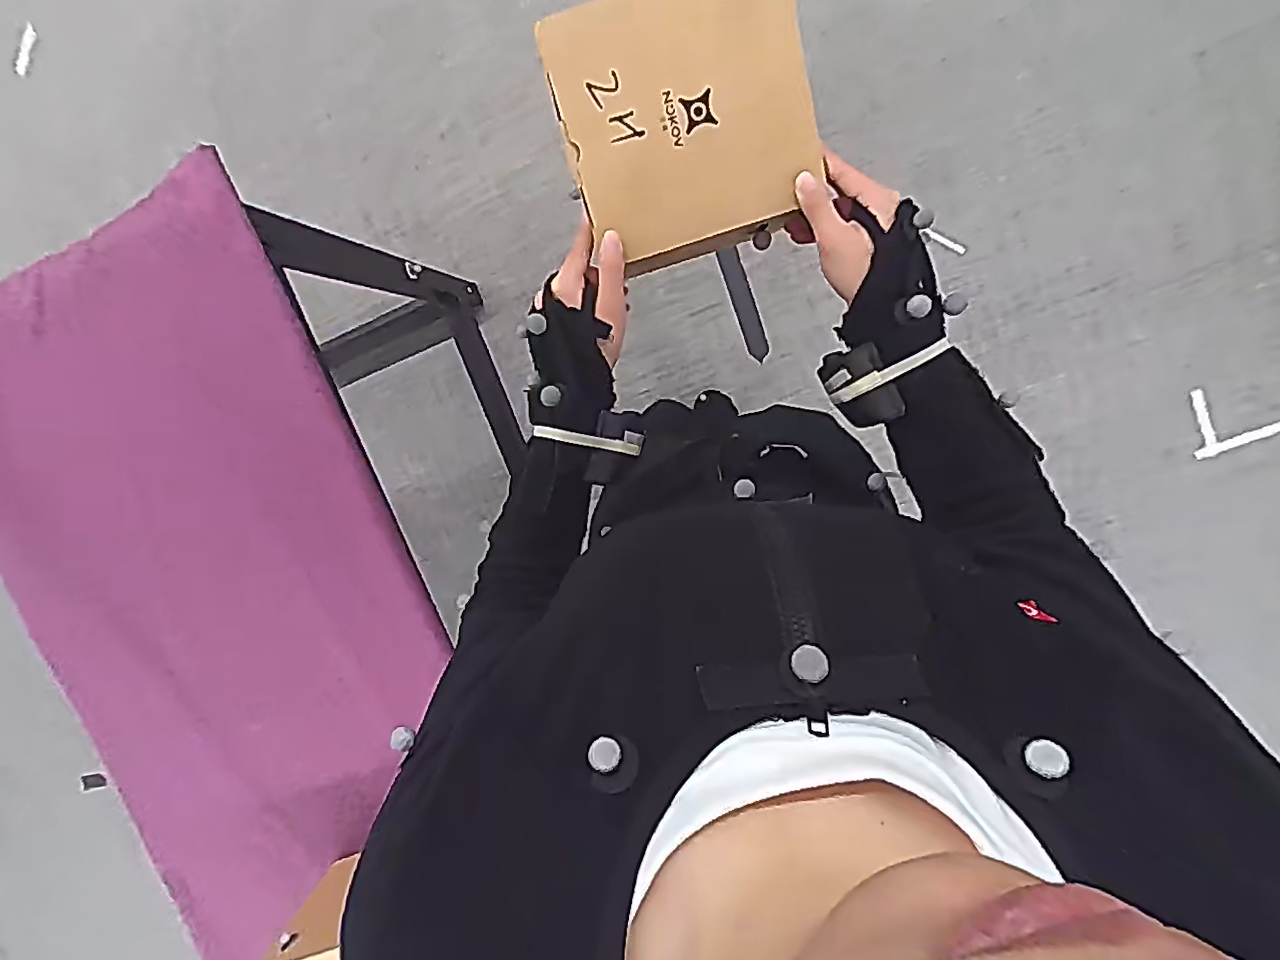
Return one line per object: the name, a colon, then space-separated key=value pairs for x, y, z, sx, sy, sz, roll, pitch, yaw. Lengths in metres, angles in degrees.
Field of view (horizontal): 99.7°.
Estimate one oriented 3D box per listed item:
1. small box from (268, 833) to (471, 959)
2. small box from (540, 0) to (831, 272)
small box: x=-0.355 y=0.626 z=0.733 sx=0.179 sy=0.176 sz=0.168 roll=-27 pitch=96 yaw=12
small box: x=0.036 y=-0.284 z=0.453 sx=0.179 sy=0.176 sz=0.168 roll=-15 pitch=106 yaw=5
